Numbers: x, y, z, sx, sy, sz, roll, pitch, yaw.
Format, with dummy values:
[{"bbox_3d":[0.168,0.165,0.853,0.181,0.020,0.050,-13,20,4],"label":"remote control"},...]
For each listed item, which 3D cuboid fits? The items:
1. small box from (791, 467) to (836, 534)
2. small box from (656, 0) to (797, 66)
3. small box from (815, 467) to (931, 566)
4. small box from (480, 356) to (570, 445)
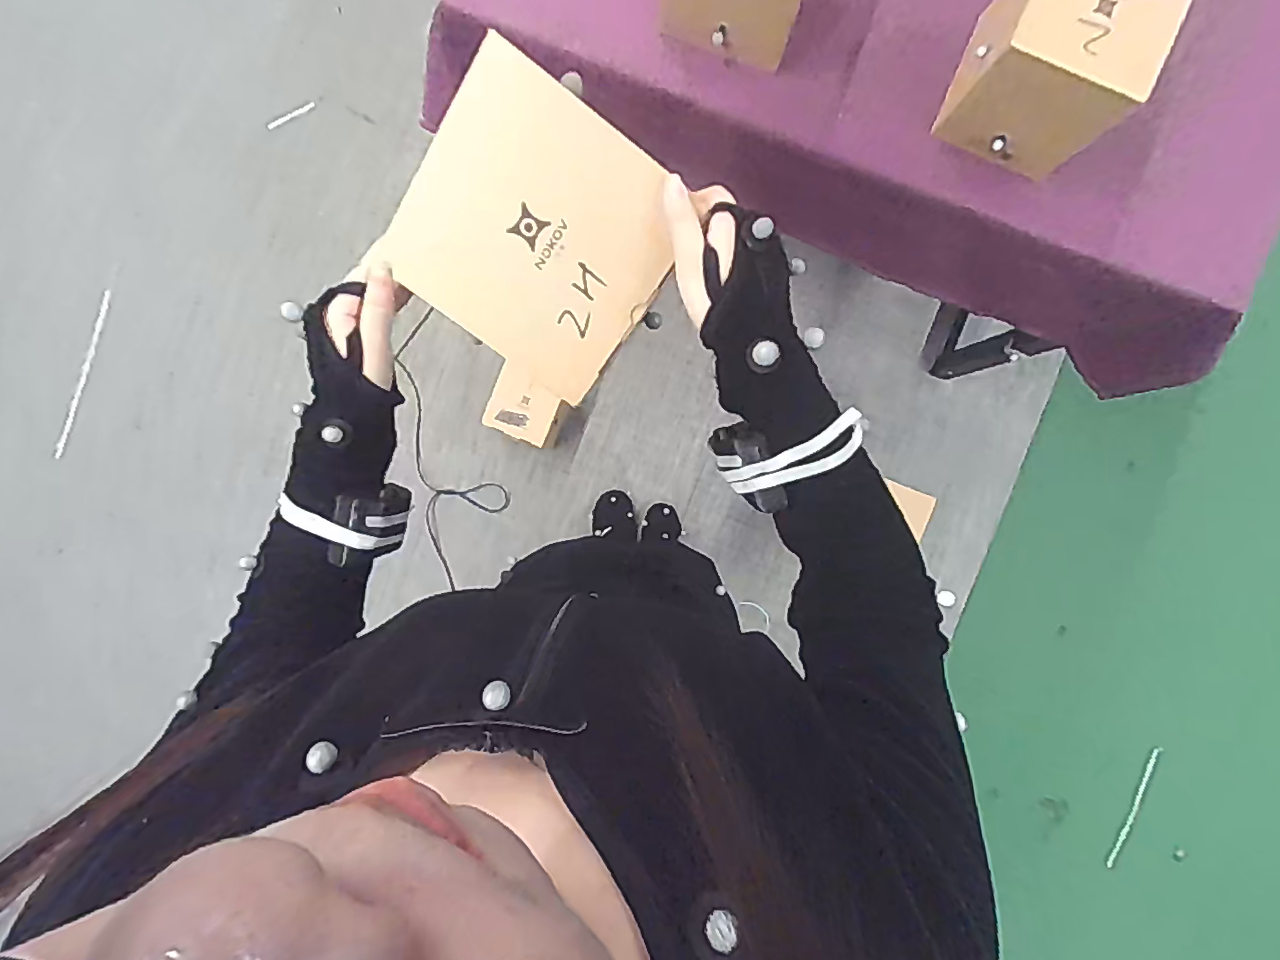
[{"bbox_3d":[0.523,0.070,1.432,0.179,0.176,0.168,19,92,-2],"label":"small box"},{"bbox_3d":[0.128,-0.668,0.671,0.179,0.176,0.168,19,91,-2],"label":"small box"},{"bbox_3d":[0.534,0.078,1.269,0.168,0.176,0.179,21,92,-3],"label":"small box"},{"bbox_3d":[-0.292,-0.198,1.415,0.168,0.176,0.179,22,91,-1],"label":"small box"}]
